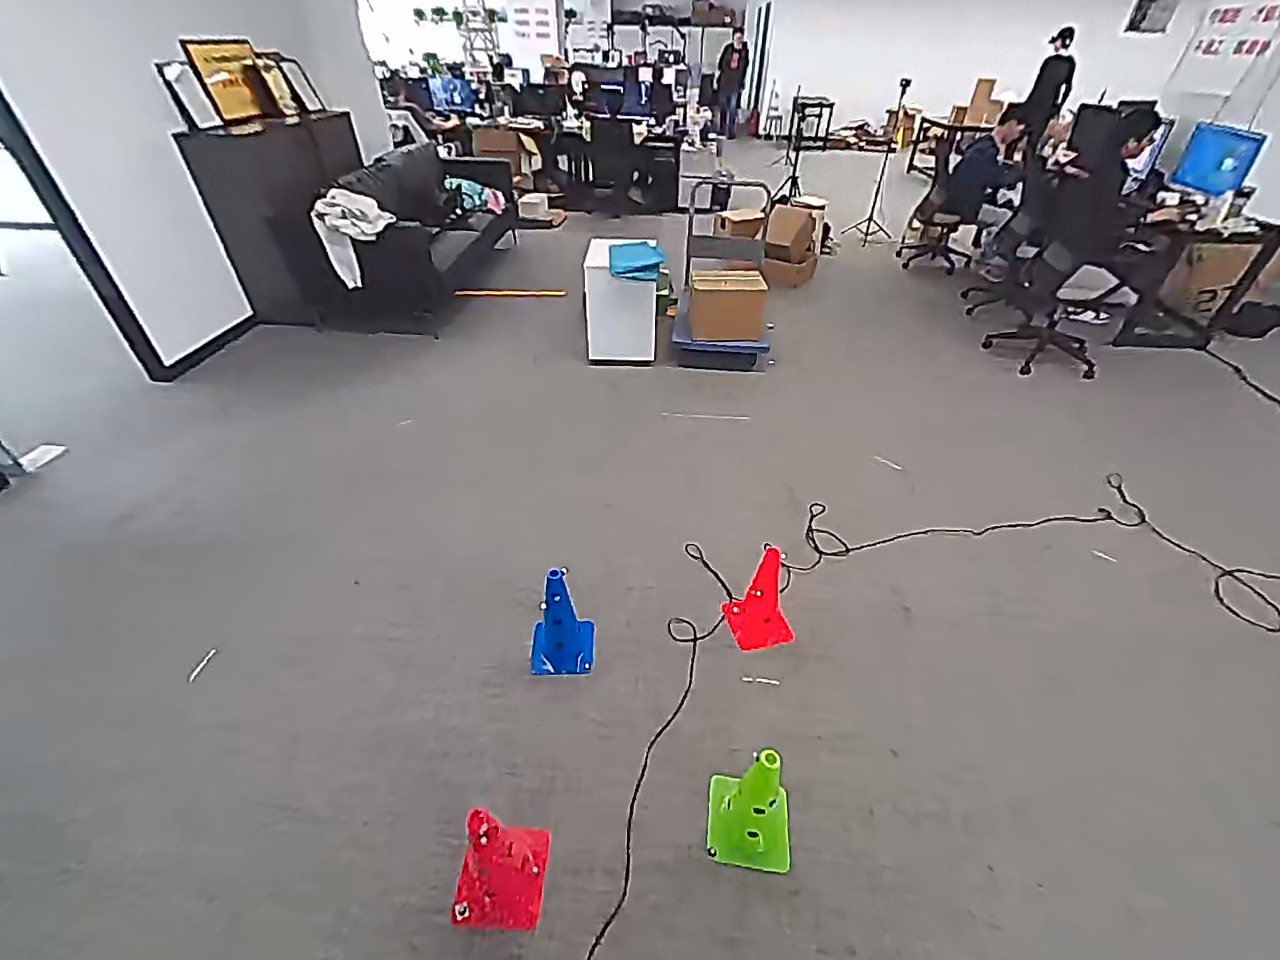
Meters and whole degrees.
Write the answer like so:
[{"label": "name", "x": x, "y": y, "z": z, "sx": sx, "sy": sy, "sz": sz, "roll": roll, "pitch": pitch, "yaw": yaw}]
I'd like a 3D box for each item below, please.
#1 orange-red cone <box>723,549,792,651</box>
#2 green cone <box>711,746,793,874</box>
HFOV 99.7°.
[{"label": "orange-red cone", "x": 0.401, "y": 0.356, "z": 1.740, "sx": 0.198, "sy": 0.360, "sz": 0.199, "roll": -9, "pitch": 41, "yaw": -10}, {"label": "green cone", "x": 0.284, "y": 0.733, "z": 1.260, "sx": 0.200, "sy": 0.368, "sz": 0.202, "roll": 6, "pitch": 38, "yaw": 5}]
